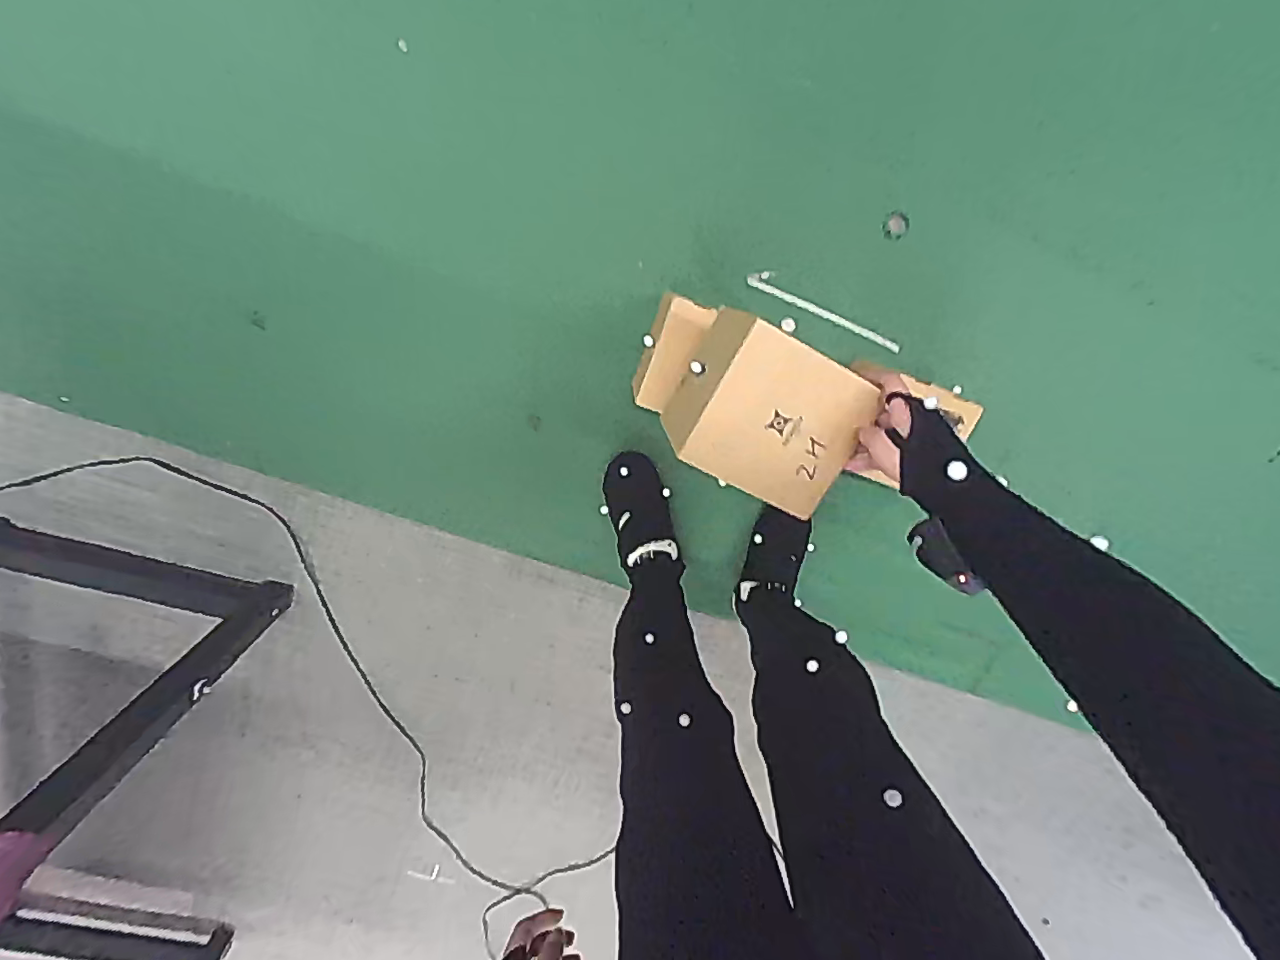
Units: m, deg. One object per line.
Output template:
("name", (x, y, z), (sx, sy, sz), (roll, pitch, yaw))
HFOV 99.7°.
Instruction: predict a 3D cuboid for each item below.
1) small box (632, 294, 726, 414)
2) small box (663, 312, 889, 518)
("small box", (0.090, -0.200, 0.912), (0.168, 0.176, 0.179), (18, 107, -9))
("small box", (0.143, -0.087, 0.644), (0.179, 0.176, 0.168), (26, 107, -14))
